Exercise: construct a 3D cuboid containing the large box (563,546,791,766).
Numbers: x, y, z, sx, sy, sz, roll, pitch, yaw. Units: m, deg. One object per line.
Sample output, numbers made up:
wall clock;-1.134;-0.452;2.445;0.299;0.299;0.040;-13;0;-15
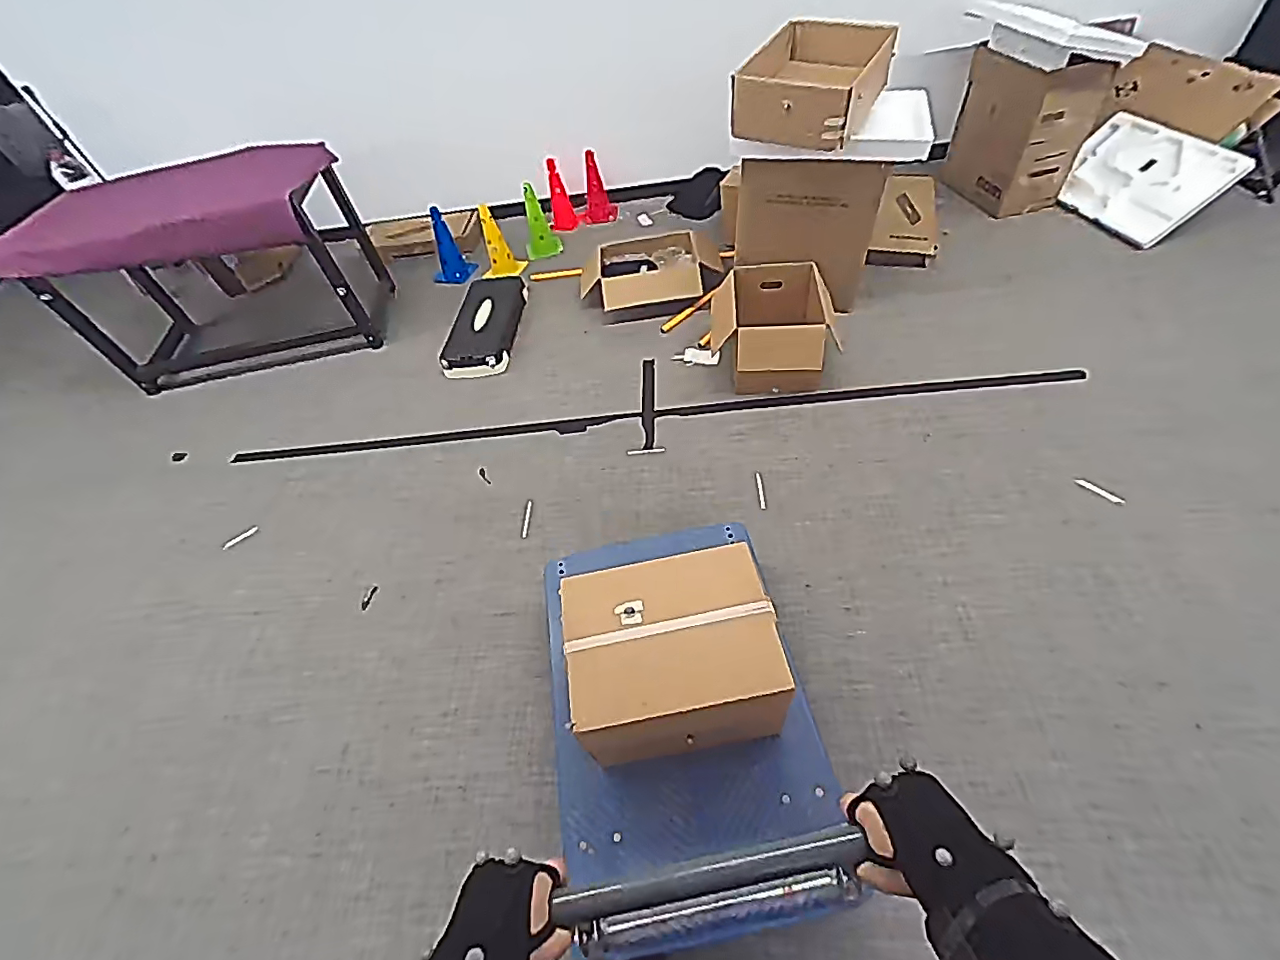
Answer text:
large box;0.075;0.390;1.176;0.408;0.320;0.320;-13;50;0
